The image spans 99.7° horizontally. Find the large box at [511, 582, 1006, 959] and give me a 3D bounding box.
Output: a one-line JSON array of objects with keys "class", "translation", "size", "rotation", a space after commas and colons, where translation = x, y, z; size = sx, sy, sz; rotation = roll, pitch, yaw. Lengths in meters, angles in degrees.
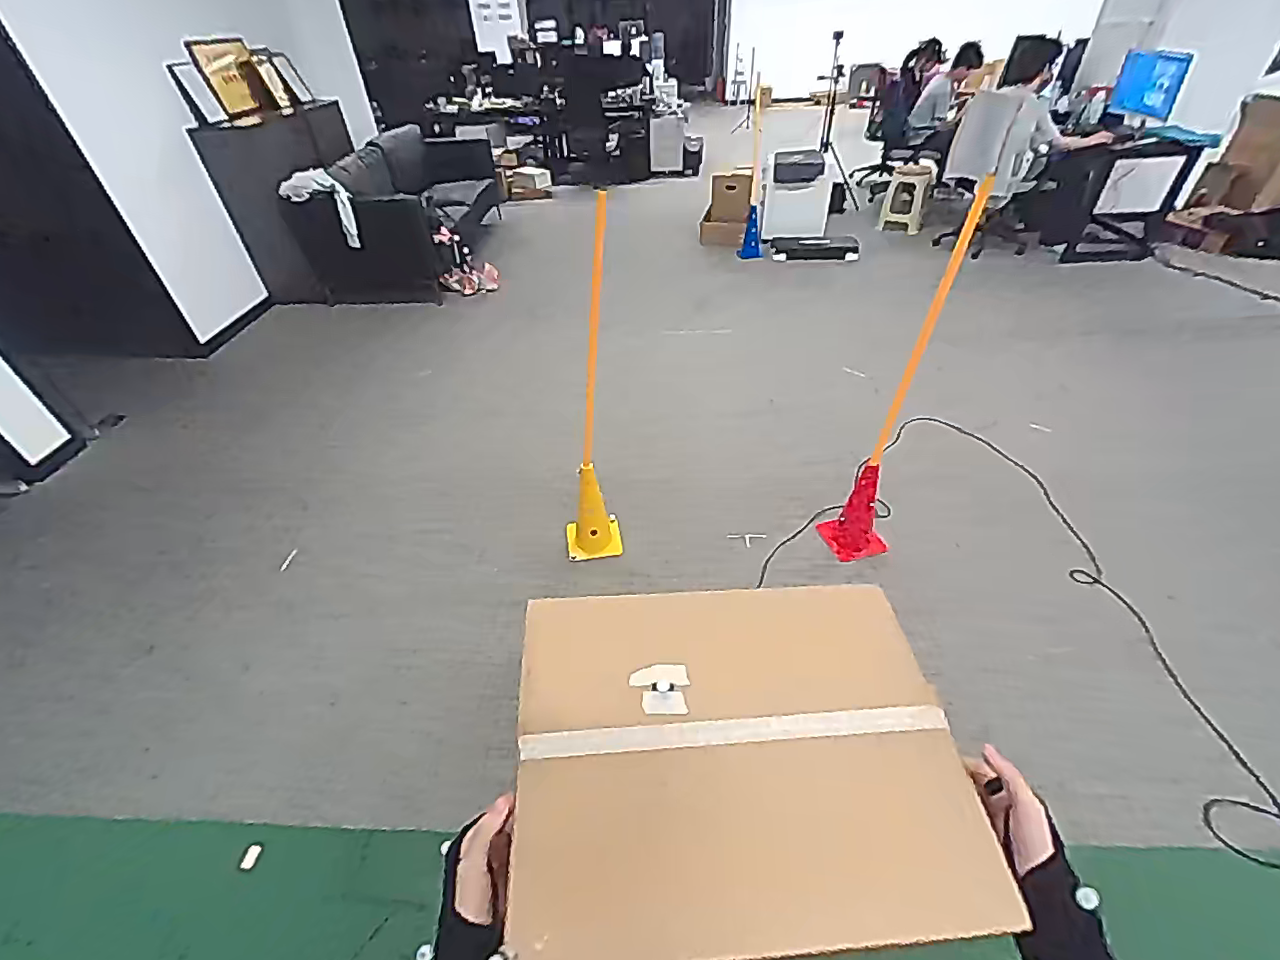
[{"class": "large box", "translation": [0.085, 0.343, 0.627], "size": [0.408, 0.320, 0.320], "rotation": [-3, 47, -4]}]
